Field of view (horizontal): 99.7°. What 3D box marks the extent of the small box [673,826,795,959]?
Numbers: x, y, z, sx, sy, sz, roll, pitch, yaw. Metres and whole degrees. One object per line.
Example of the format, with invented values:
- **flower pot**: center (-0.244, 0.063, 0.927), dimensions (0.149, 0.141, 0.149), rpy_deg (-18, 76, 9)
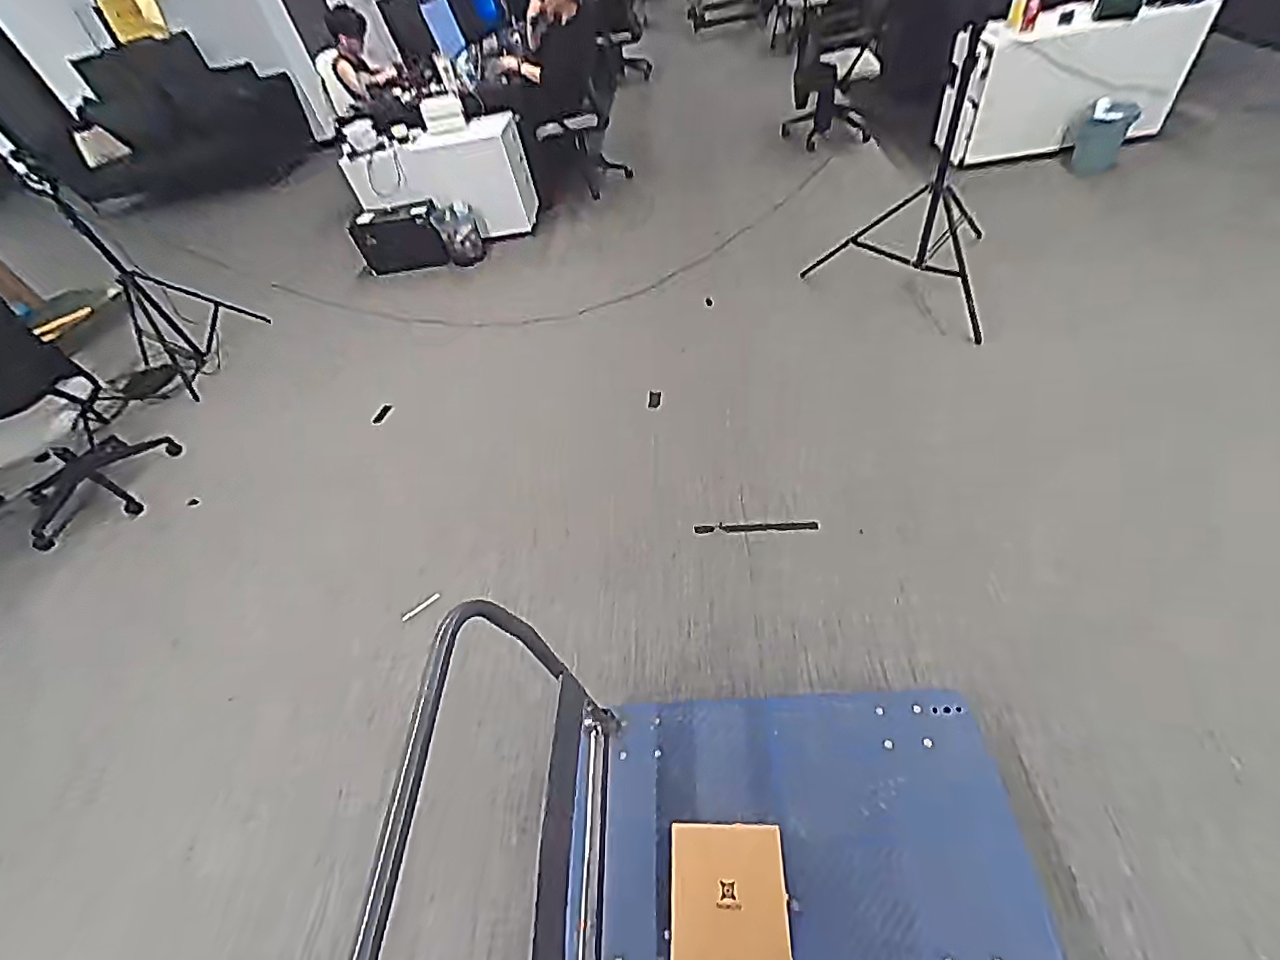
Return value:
- **small box**: center (0.140, 0.649, 0.830), dimensions (0.168, 0.176, 0.179), rpy_deg (-4, 50, 8)
